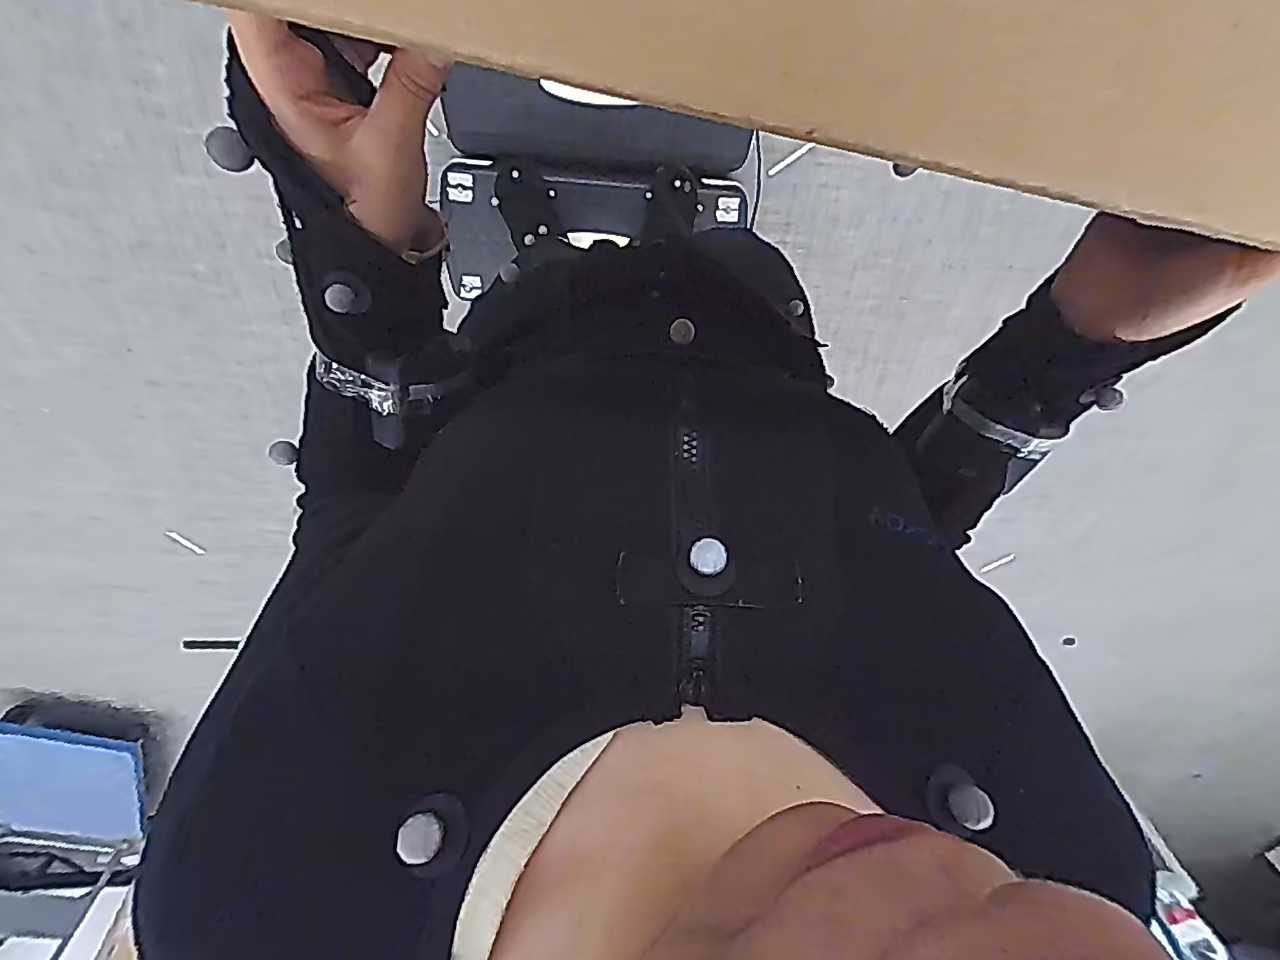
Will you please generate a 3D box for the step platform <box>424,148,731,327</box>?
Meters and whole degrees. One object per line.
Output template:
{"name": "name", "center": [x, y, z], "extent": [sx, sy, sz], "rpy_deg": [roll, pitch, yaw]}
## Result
{"name": "step platform", "center": [-0.137, -0.555, 1.262], "extent": [0.684, 0.204, 0.286], "rpy_deg": [7, 123, -6]}
